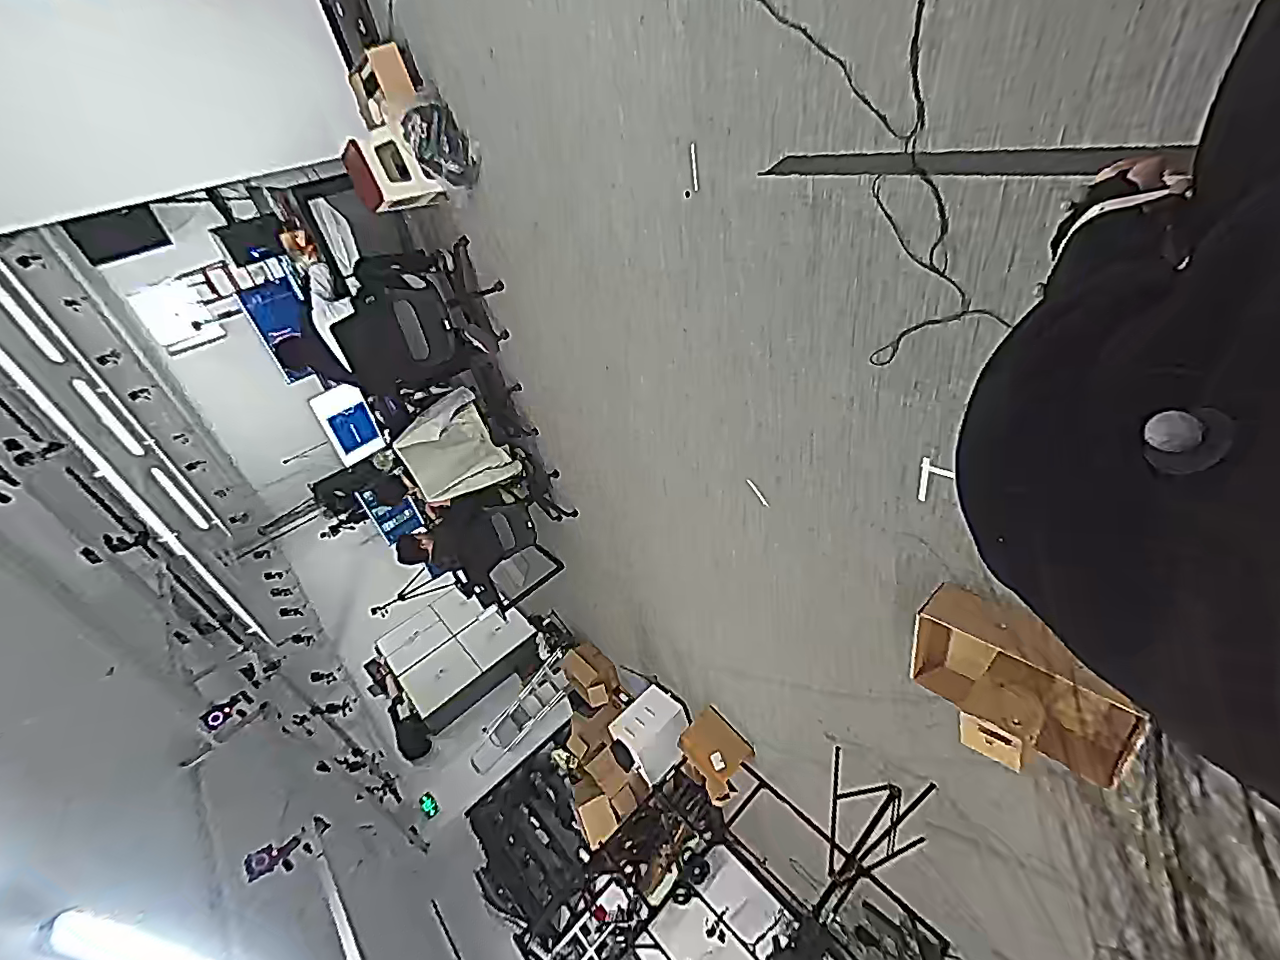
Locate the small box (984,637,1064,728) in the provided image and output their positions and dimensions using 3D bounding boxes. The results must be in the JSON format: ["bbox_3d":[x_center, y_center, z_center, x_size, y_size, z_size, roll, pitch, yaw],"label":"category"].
[{"bbox_3d":[1.234,0.645,1.739,0.168,0.176,0.179,19,136,47],"label":"small box"}]
